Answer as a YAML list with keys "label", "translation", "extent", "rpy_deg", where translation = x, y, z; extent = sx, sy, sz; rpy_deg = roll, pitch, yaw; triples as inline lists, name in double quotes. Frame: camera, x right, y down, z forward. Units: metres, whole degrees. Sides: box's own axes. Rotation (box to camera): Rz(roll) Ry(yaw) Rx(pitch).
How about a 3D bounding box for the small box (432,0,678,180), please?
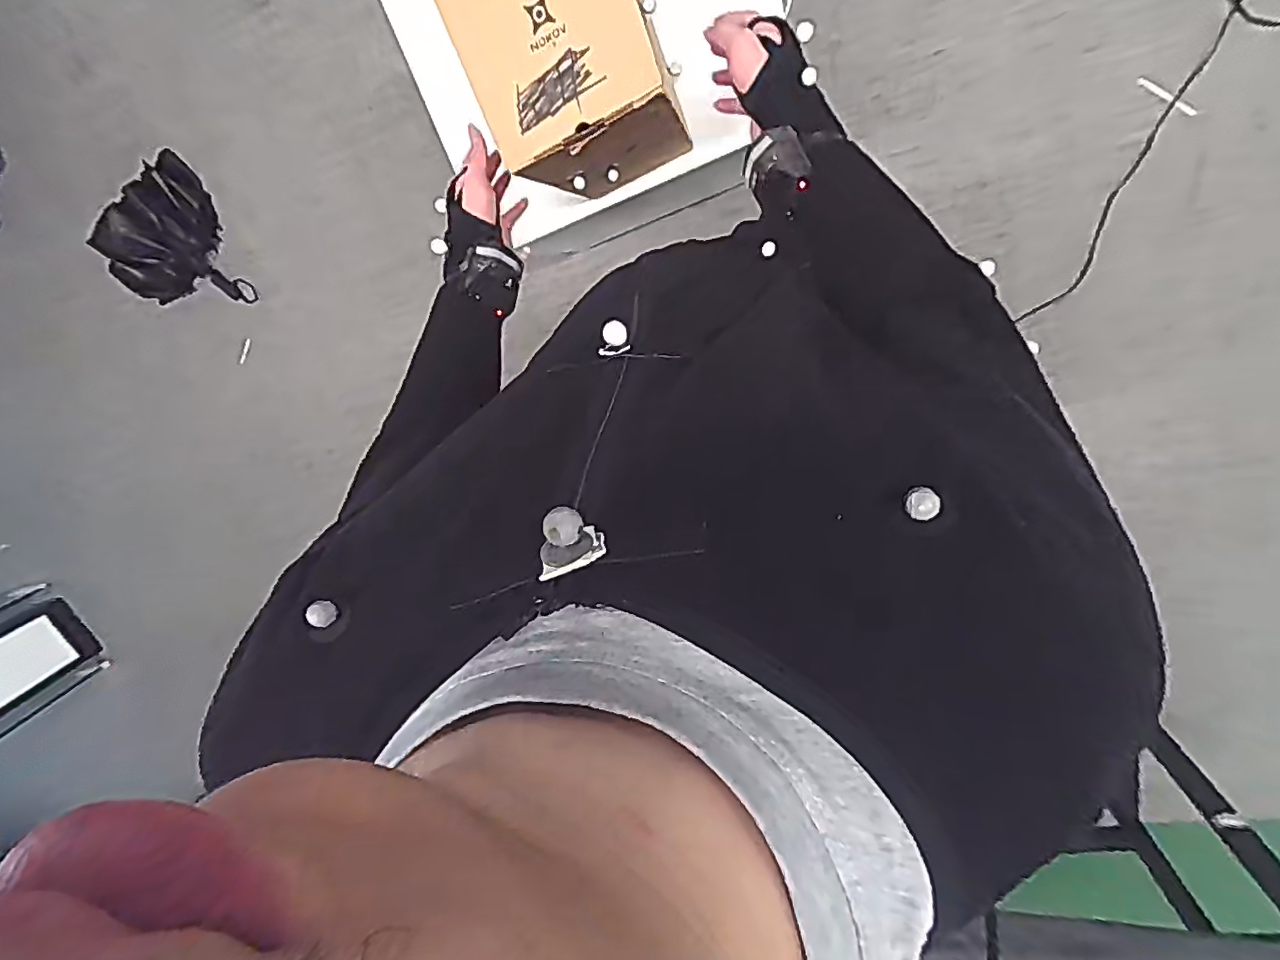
- label: "small box"
  translation: [-0.071, -0.424, 0.541]
  extent: [0.168, 0.176, 0.179]
  rpy_deg: [-19, 108, 17]

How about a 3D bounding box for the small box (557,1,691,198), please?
- label: "small box"
  translation: [-0.044, -0.488, 0.691]
  extent: [0.168, 0.176, 0.179]
  rpy_deg: [-19, 108, 18]
